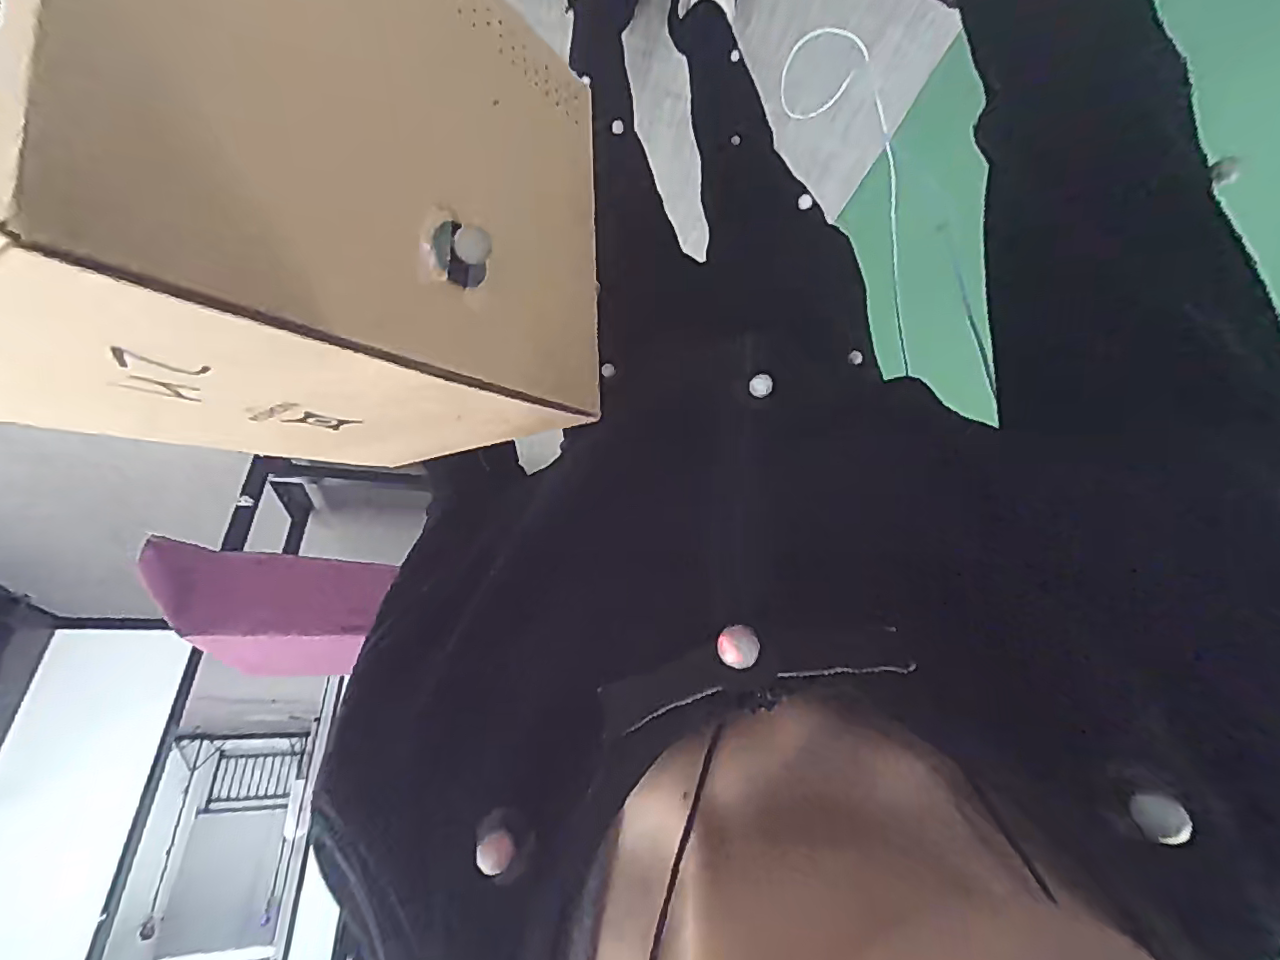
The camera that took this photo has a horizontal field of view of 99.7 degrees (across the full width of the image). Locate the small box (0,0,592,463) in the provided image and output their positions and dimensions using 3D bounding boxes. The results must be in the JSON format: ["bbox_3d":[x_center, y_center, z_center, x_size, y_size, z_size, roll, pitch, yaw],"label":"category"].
[{"bbox_3d":[-0.134,-0.110,0.220,0.168,0.176,0.179,-9,168,34],"label":"small box"}]
